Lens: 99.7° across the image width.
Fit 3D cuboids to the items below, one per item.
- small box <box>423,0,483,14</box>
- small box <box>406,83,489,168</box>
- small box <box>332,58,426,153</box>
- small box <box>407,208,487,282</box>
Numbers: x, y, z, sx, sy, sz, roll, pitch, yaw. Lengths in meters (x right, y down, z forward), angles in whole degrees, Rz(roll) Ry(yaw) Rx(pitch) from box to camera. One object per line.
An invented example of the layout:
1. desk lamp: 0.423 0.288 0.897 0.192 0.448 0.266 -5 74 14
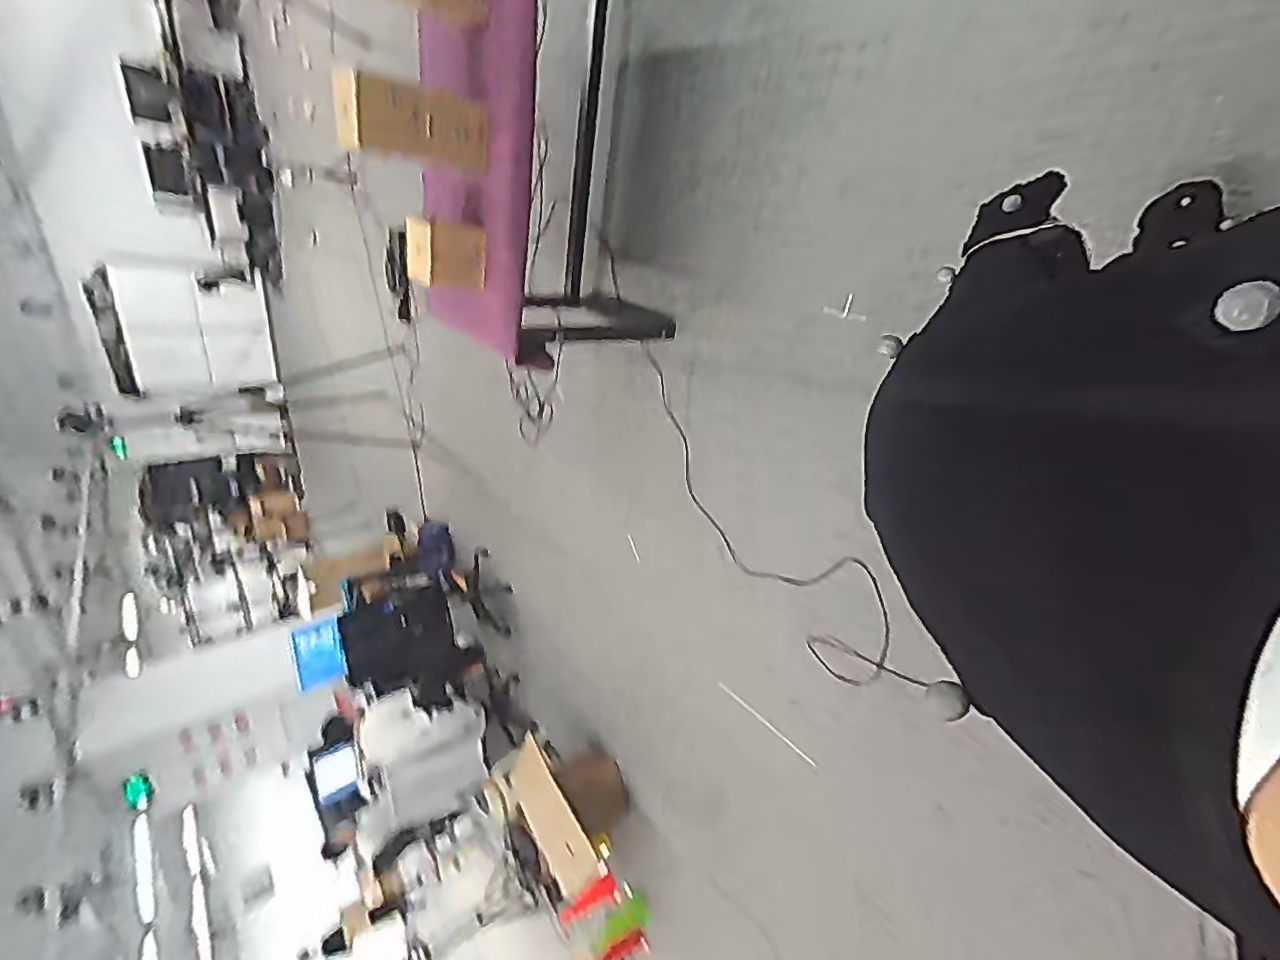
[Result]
1. small box: -0.476 -1.256 1.300 0.179 0.176 0.168 38 126 37
2. small box: -0.521 -0.952 1.451 0.179 0.176 0.168 37 127 37
3. small box: -0.644 -0.927 1.346 0.179 0.176 0.168 37 127 38
4. small box: -0.571 -0.688 1.593 0.179 0.176 0.168 37 127 37
